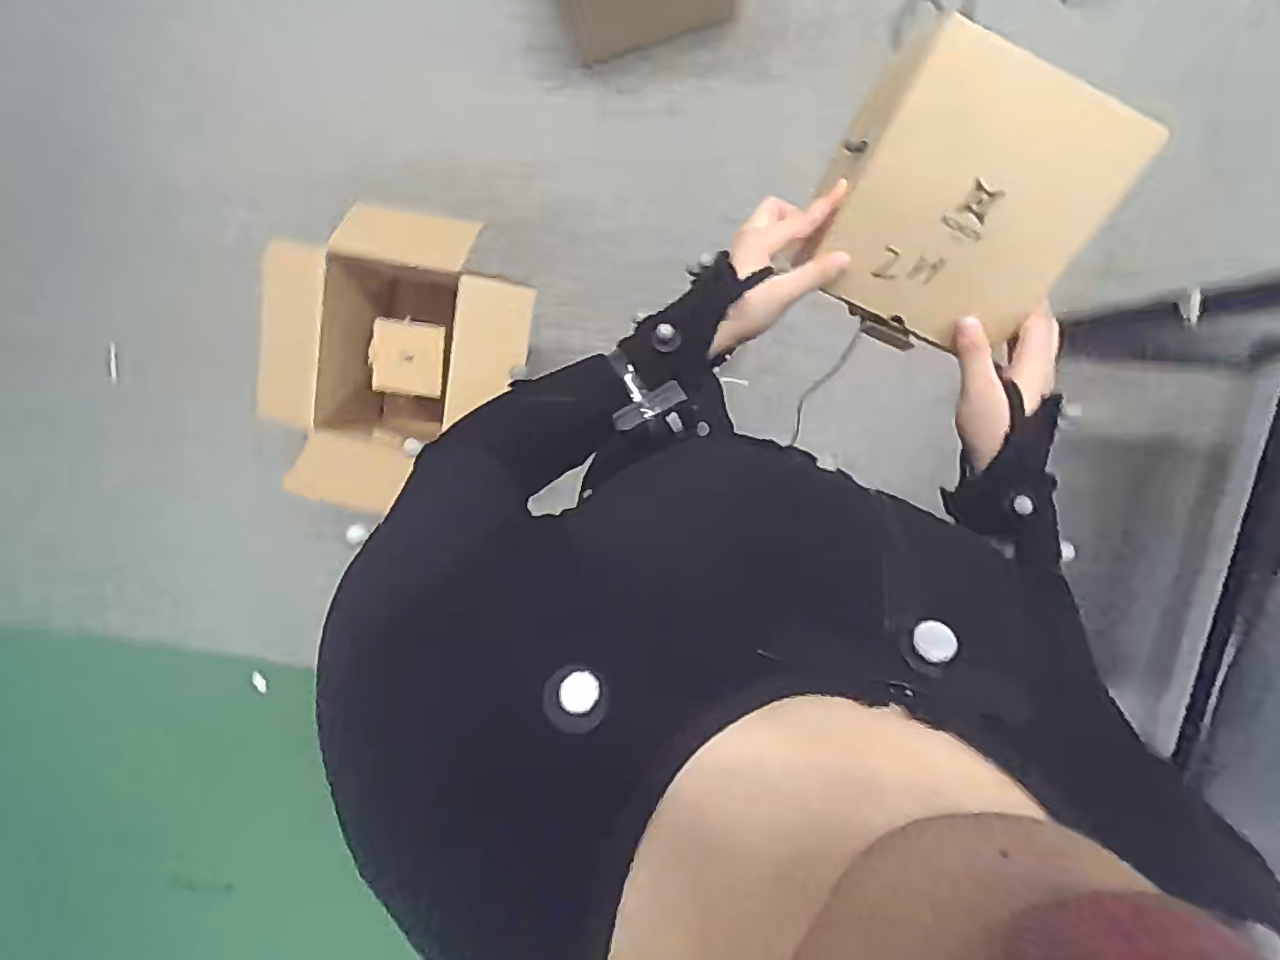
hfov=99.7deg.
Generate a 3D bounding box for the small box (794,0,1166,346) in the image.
[{"bbox_3d":[0.243,-0.242,0.450,0.168,0.176,0.179,24,119,-3],"label":"small box"}]
